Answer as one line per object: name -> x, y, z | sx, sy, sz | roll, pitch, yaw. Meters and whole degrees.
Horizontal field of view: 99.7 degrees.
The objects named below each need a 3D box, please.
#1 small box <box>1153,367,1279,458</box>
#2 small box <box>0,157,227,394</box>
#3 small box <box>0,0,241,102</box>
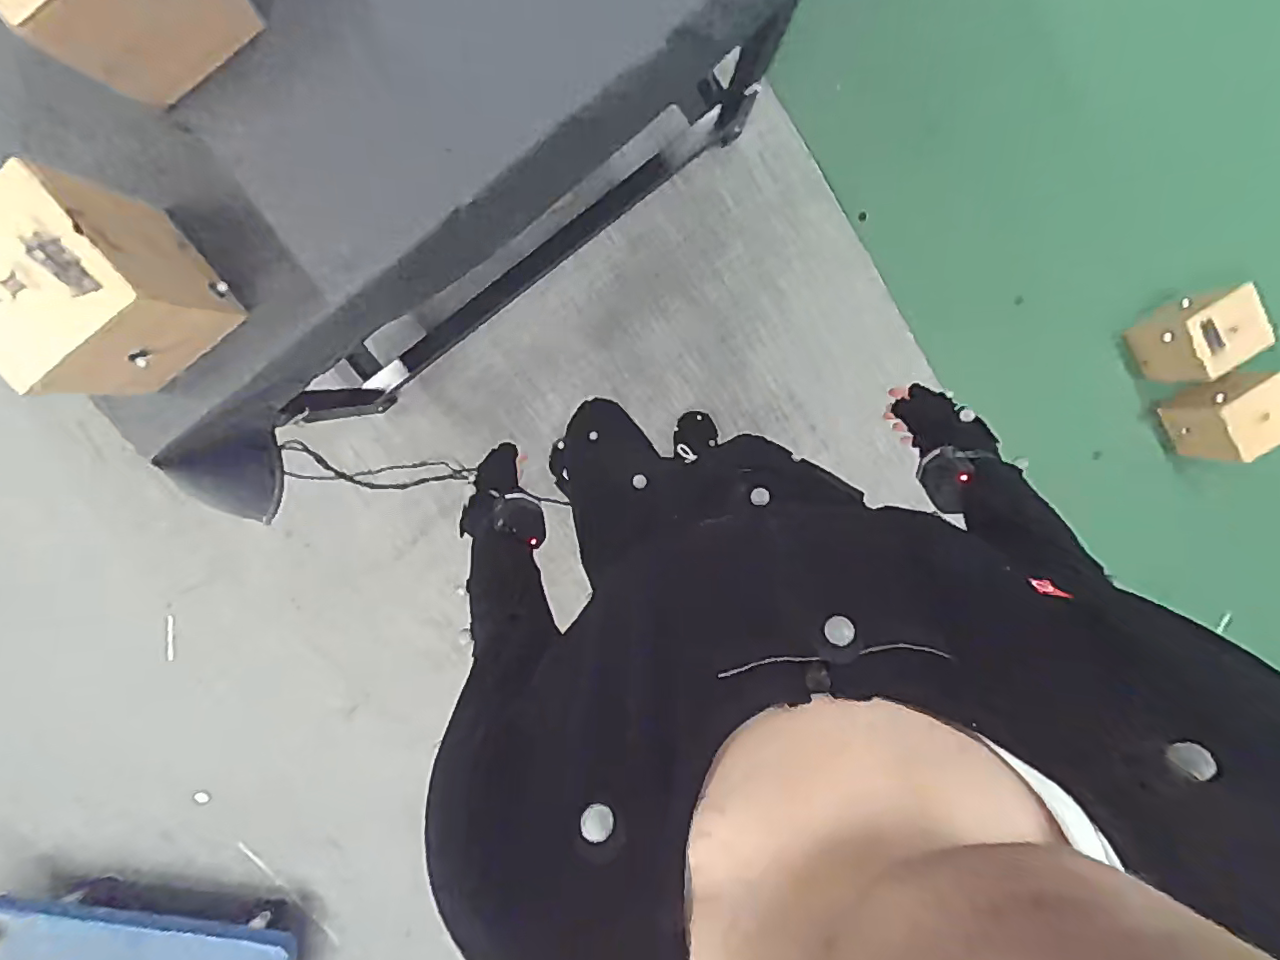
small box -> 1.531, -0.183, 1.423 | 0.179, 0.176, 0.168 | -35, 100, 6
small box -> -0.633, -0.218, 0.623 | 0.179, 0.176, 0.168 | -36, 99, 5
small box -> -0.568, -0.552, 0.561 | 0.179, 0.176, 0.168 | -34, 101, 5
